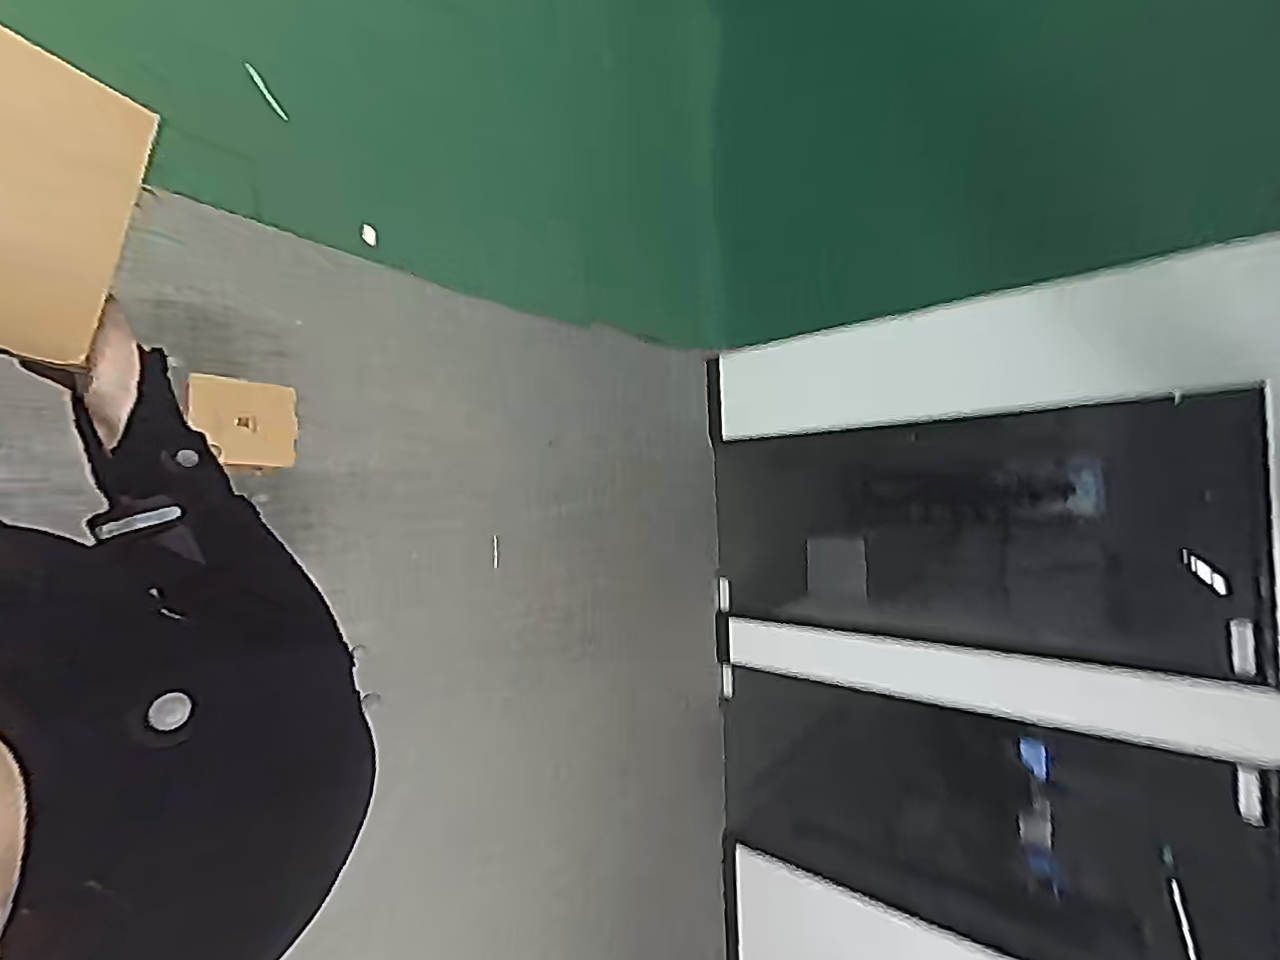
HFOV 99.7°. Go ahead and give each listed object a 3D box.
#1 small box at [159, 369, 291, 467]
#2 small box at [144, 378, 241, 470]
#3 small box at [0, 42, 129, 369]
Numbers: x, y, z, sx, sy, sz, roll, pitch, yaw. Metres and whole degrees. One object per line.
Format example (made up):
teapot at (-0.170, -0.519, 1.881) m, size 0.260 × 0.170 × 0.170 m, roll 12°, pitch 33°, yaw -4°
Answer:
small box at (-0.838, -0.115, 1.094) m, size 0.179 × 0.176 × 0.168 m, roll 3°, pitch 85°, yaw -50°
small box at (-0.964, -0.114, 1.196) m, size 0.179 × 0.176 × 0.168 m, roll 8°, pitch 82°, yaw -50°
small box at (-0.460, -0.182, 0.325) m, size 0.168 × 0.176 × 0.179 m, roll 17°, pitch 87°, yaw -56°
